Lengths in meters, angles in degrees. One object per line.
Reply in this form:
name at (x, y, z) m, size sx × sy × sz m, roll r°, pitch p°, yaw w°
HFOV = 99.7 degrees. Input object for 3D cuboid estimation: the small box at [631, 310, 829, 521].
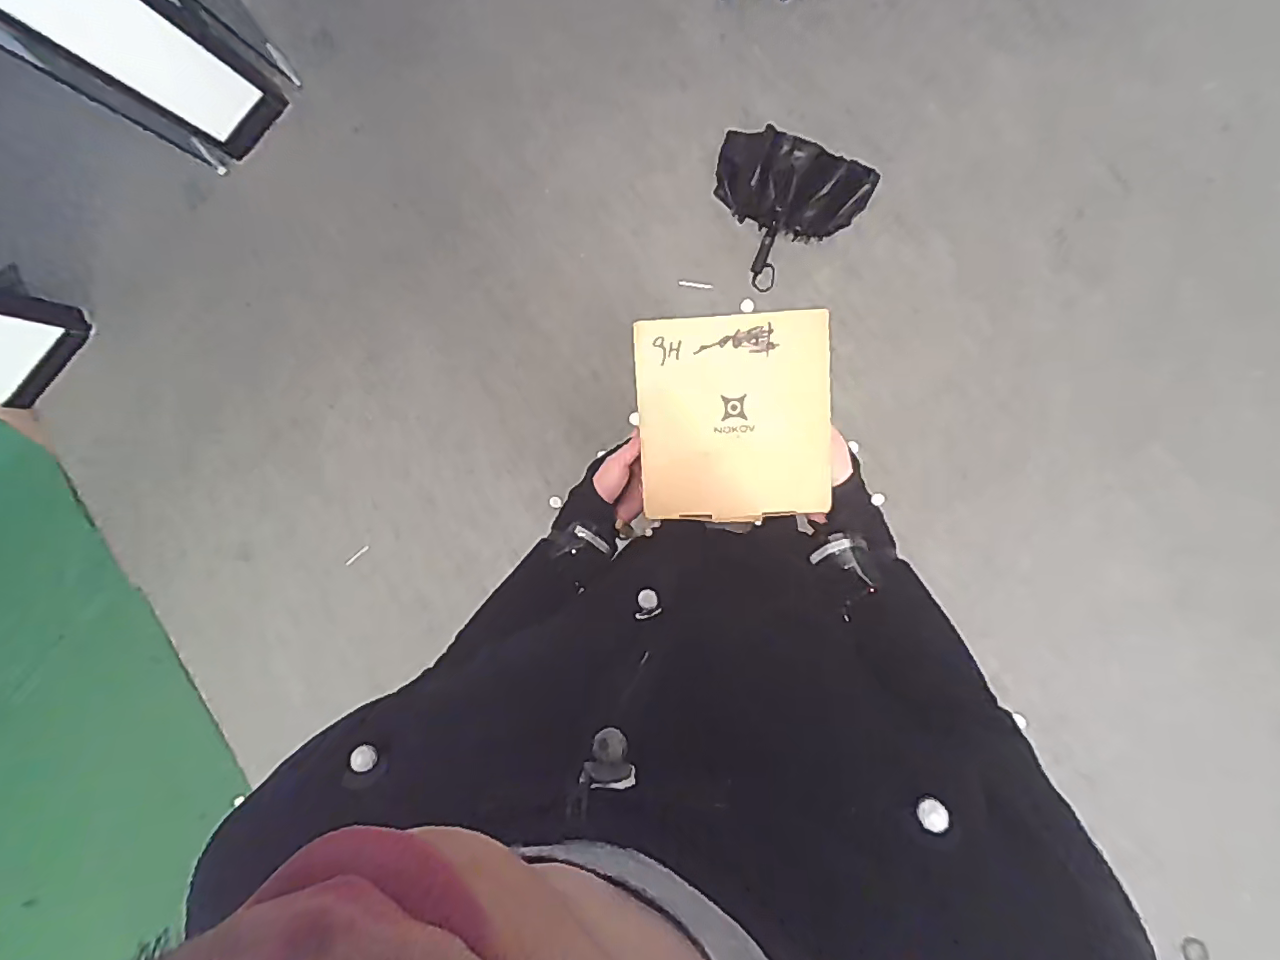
small box at (0.083, -0.064, 0.538) m, size 0.168 × 0.176 × 0.179 m, roll -3°, pitch 98°, yaw 4°
